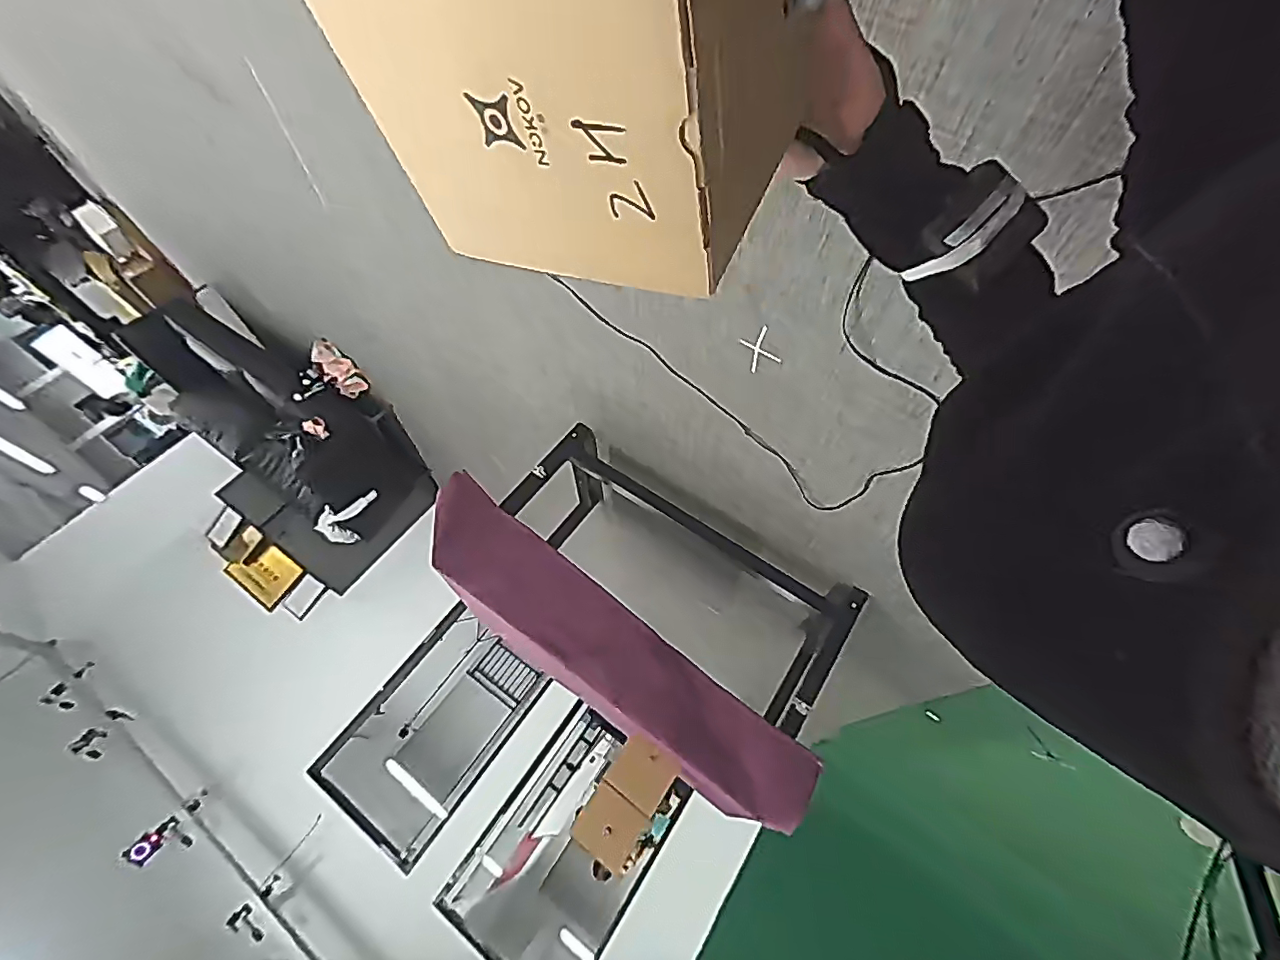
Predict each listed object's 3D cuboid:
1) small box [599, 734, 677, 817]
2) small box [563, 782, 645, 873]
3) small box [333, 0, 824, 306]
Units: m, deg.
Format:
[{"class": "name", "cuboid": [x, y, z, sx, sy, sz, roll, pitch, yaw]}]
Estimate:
[{"class": "small box", "cuboid": [-0.006, 0.919, 1.690, 0.179, 0.176, 0.168, 31, 154, 19]}, {"class": "small box", "cuboid": [-0.104, 1.032, 1.621, 0.179, 0.176, 0.168, 30, 153, 19]}, {"class": "small box", "cuboid": [-0.014, -0.224, 0.279, 0.179, 0.176, 0.168, 18, 157, 20]}]
